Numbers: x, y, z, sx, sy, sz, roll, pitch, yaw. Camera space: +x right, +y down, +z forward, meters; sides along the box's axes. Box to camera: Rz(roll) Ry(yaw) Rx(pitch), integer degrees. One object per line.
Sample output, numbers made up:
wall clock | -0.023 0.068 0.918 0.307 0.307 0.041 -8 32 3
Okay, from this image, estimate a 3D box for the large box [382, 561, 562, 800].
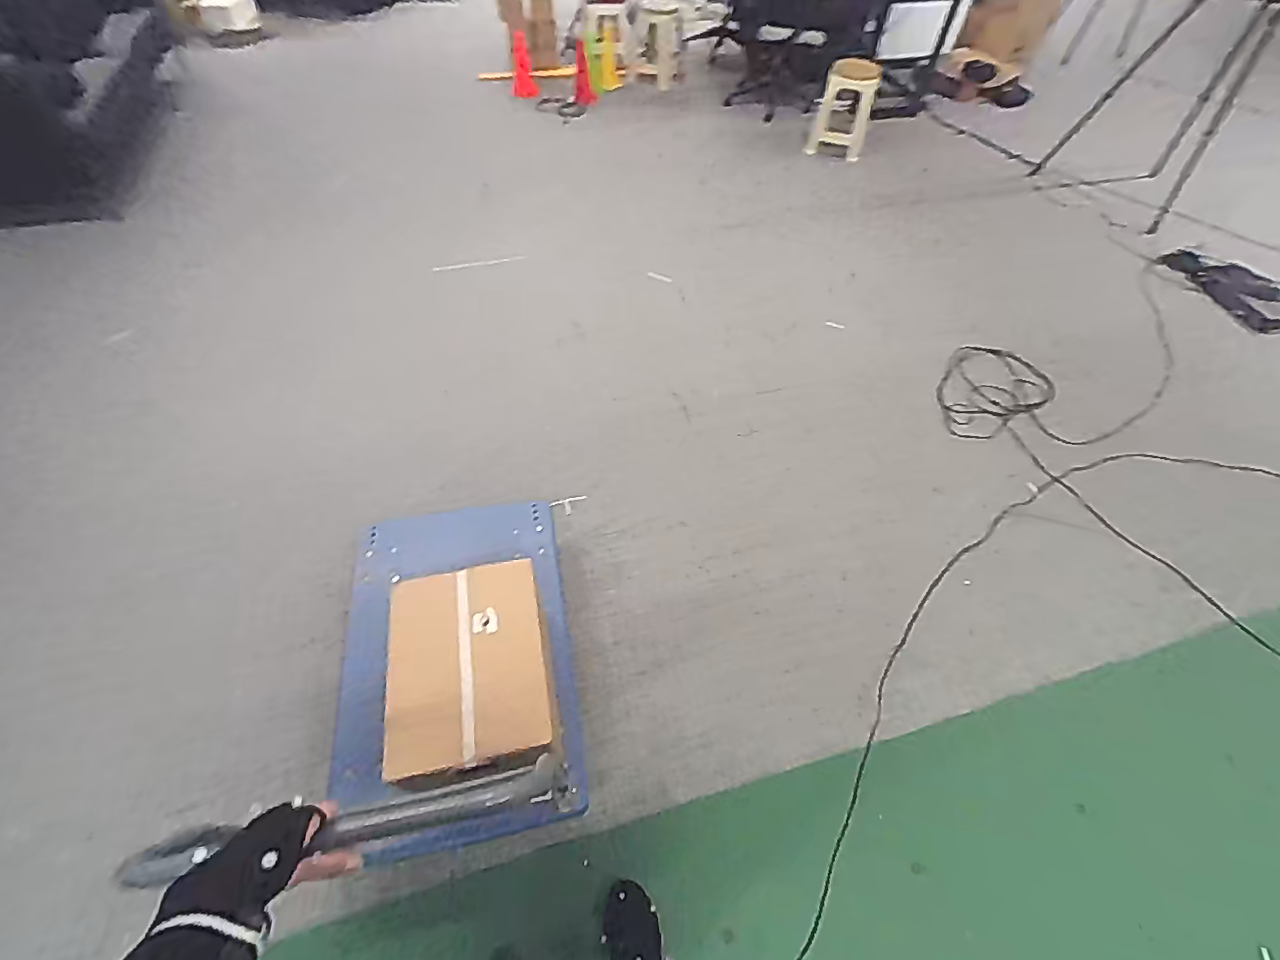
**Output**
large box | -0.369 0.455 1.234 0.320 0.320 0.408 -9 55 -10
